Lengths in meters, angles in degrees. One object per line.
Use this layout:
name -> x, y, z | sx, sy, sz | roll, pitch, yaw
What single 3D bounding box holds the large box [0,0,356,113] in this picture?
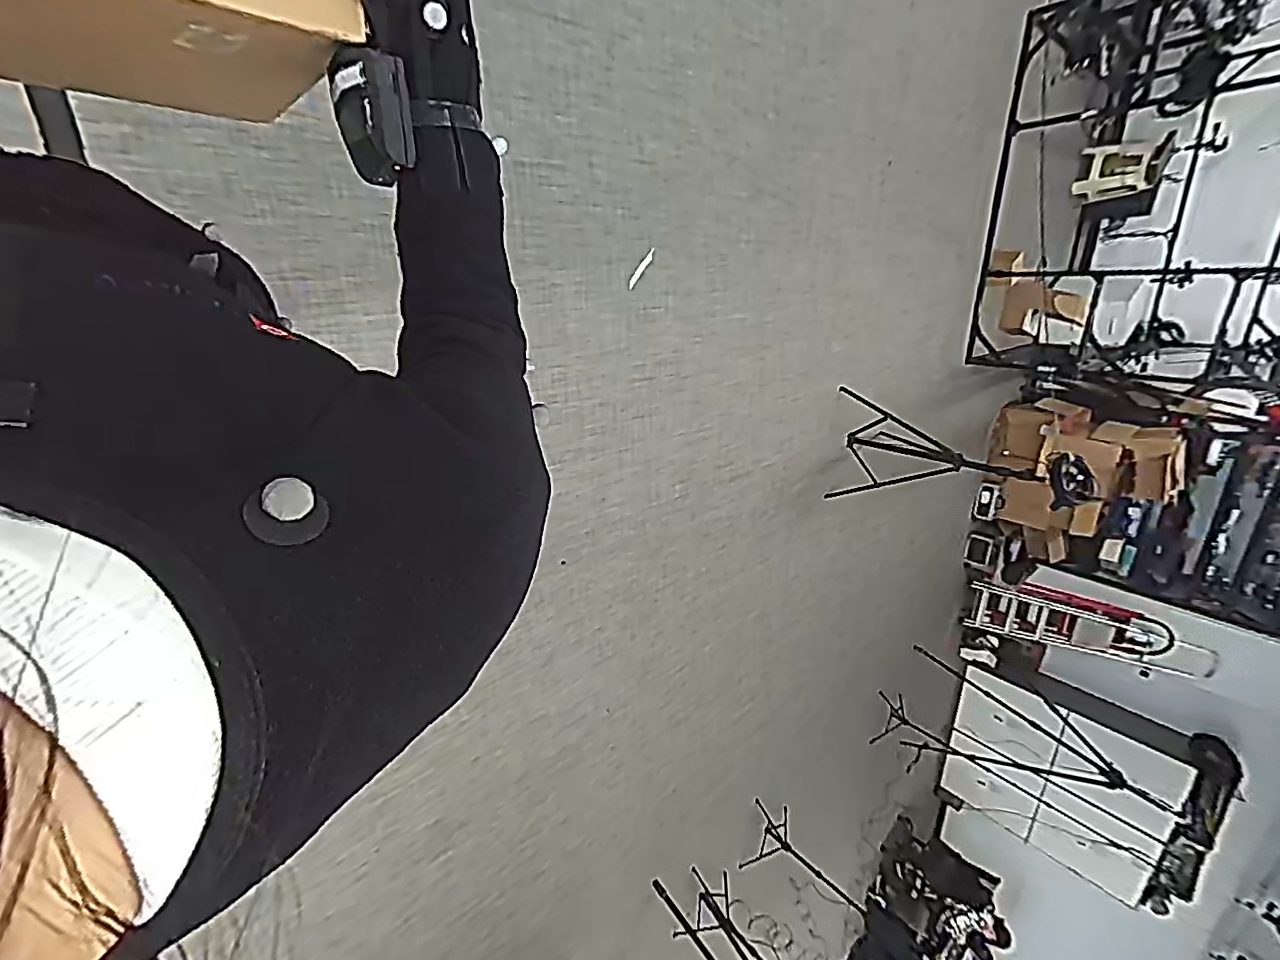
large box -> -0.414, -0.407, 0.249 | 0.408, 0.320, 0.320 | -17, 120, -39
